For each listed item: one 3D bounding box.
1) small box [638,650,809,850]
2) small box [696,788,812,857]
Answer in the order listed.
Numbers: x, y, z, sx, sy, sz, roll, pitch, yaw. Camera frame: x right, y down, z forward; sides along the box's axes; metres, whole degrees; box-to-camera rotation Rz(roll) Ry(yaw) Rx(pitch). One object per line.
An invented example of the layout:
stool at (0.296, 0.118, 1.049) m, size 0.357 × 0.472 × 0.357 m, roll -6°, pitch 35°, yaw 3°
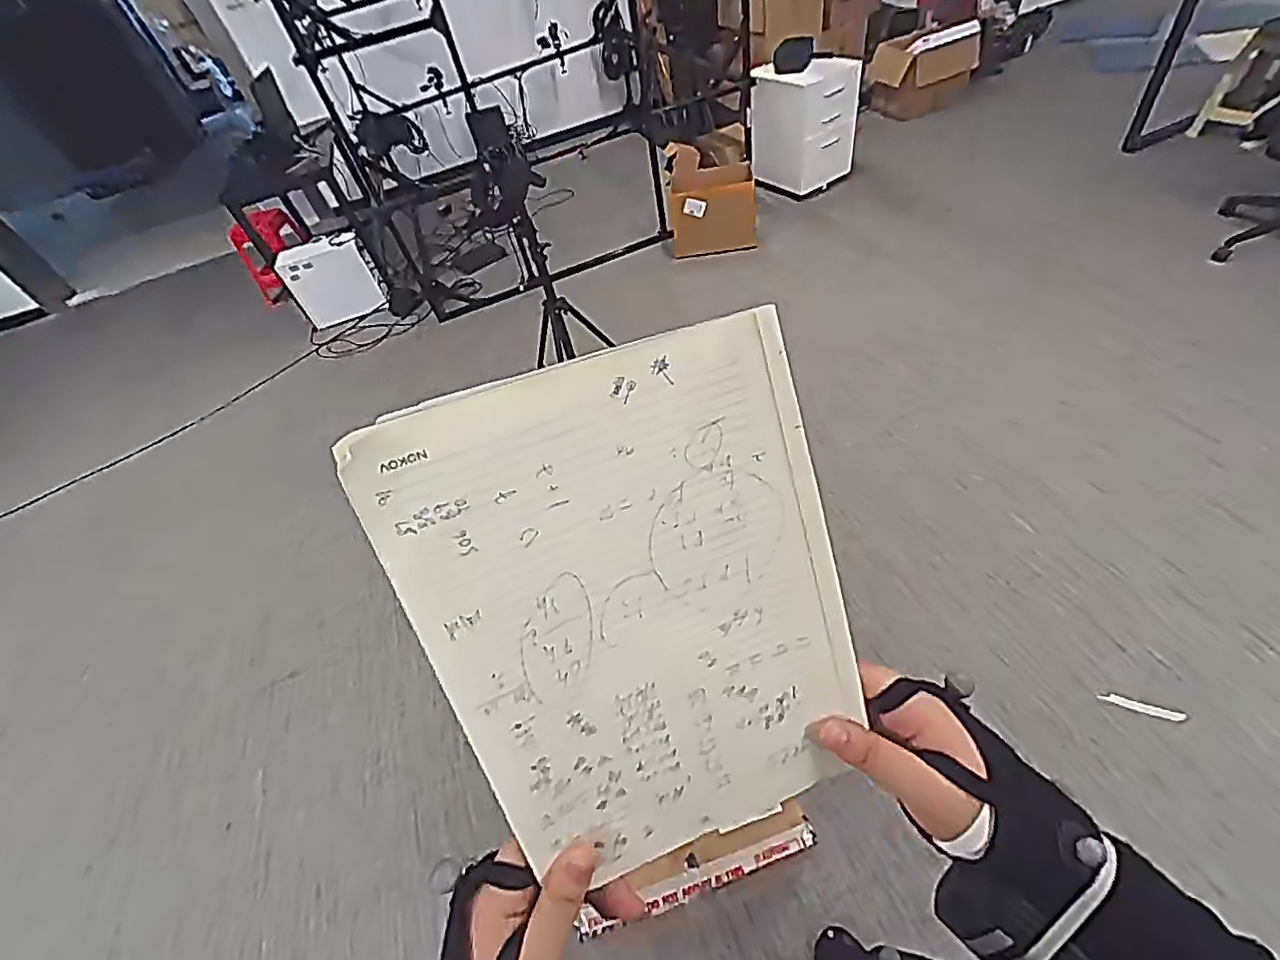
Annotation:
small box at (0.102, 0.358, 0.716) m, size 0.168 × 0.176 × 0.179 m, roll -16°, pitch 50°, yaw -4°
small box at (0.141, 0.457, 0.843) m, size 0.179 × 0.176 × 0.168 m, roll -19°, pitch 49°, yaw -6°
